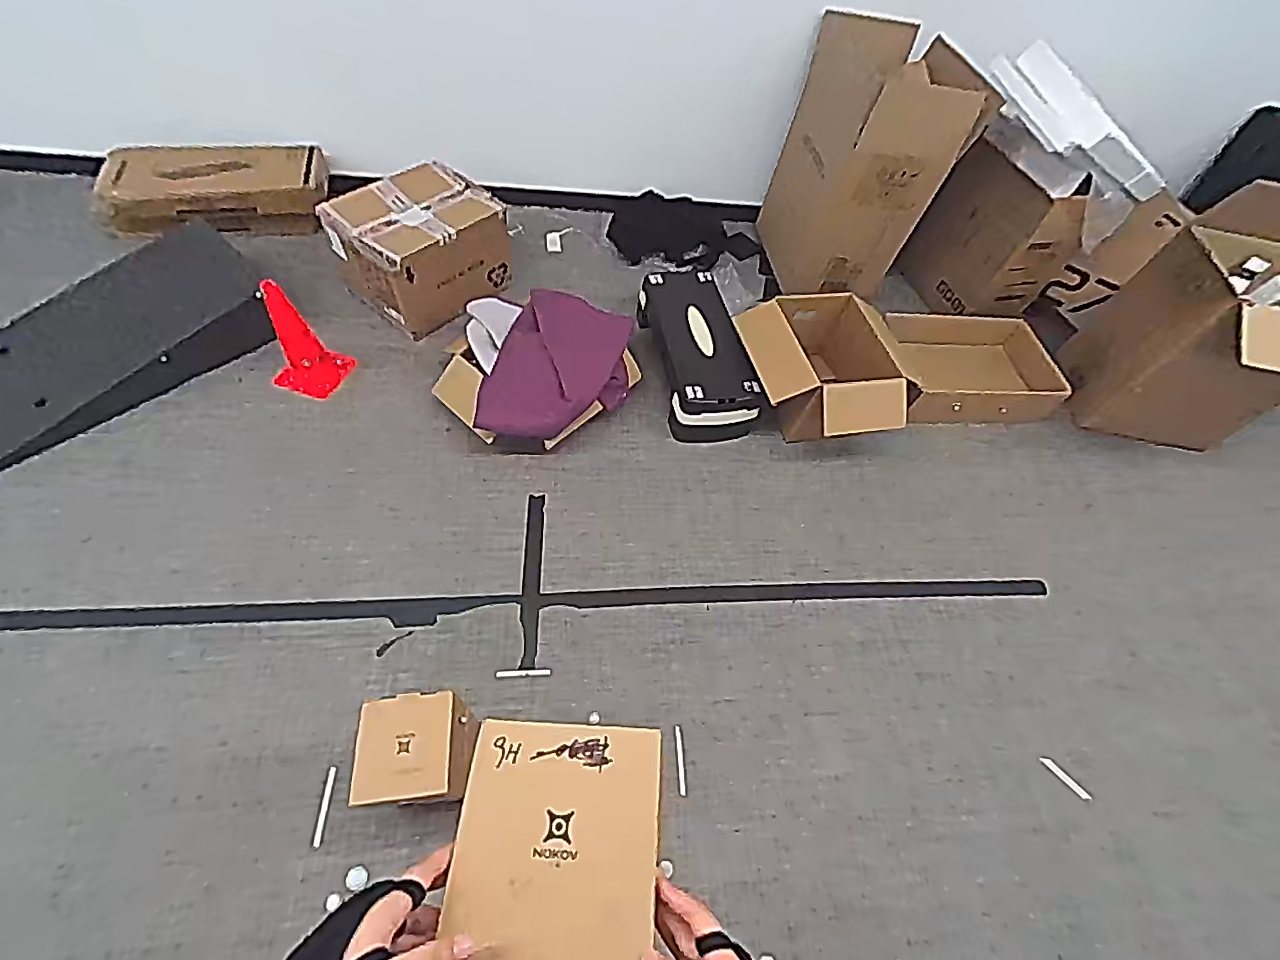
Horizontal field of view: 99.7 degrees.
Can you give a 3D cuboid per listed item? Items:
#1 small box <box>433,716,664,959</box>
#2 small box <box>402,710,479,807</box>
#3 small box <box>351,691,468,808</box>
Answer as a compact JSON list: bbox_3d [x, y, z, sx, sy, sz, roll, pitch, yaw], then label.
[{"bbox_3d":[-0.064,0.335,0.509,0.168,0.176,0.179,1,56,5],"label":"small box"},{"bbox_3d":[-0.459,0.613,1.189,0.179,0.176,0.168,-1,57,-9],"label":"small box"},{"bbox_3d":[-0.436,0.527,1.052,0.168,0.176,0.179,-4,59,-8],"label":"small box"}]
